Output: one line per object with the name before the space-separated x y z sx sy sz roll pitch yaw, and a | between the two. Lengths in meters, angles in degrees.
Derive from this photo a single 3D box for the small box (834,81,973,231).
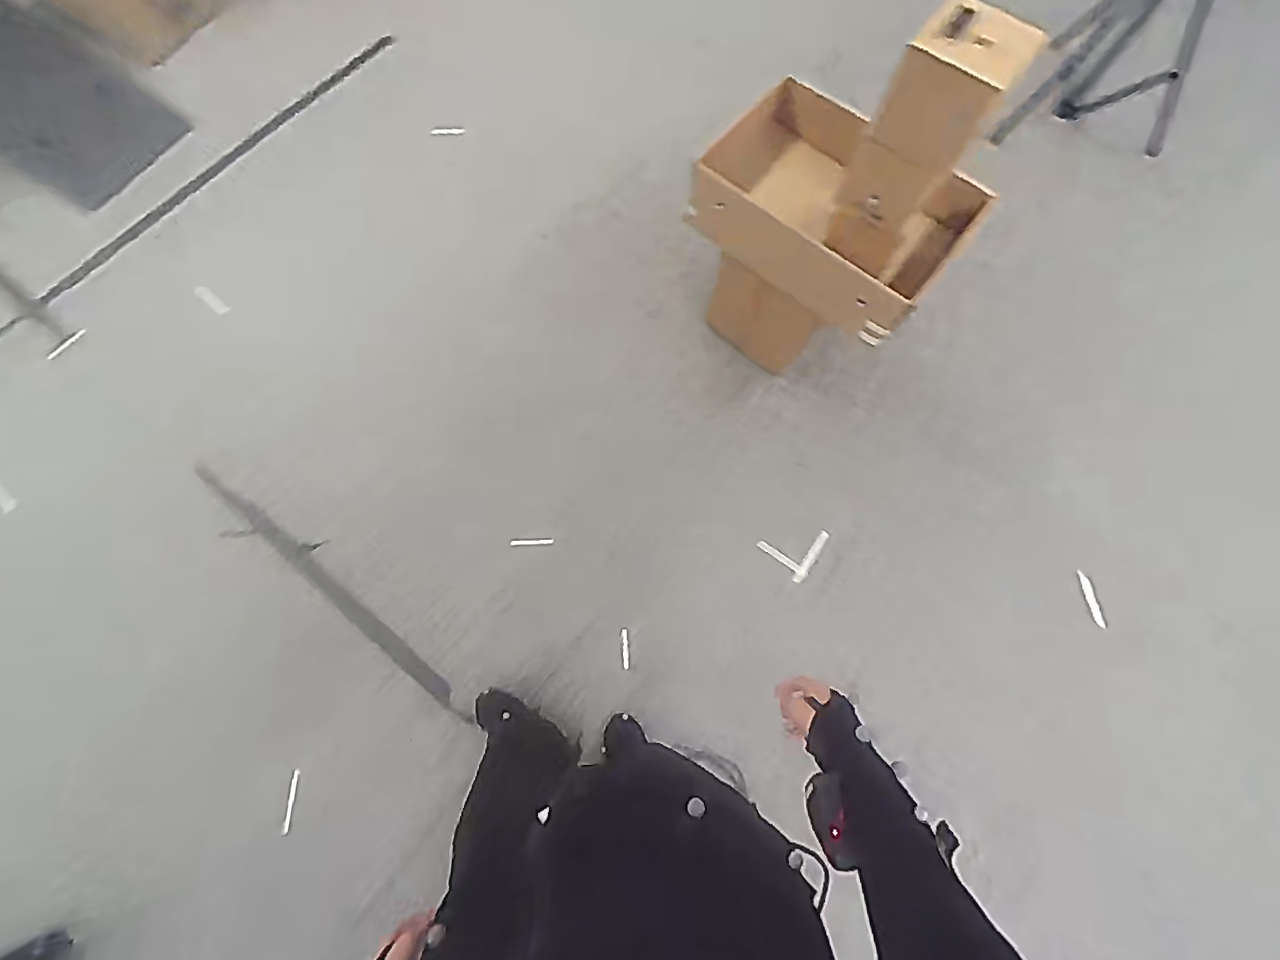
small box | 0.536 -0.667 1.126 0.168 0.176 0.179 37 76 11
